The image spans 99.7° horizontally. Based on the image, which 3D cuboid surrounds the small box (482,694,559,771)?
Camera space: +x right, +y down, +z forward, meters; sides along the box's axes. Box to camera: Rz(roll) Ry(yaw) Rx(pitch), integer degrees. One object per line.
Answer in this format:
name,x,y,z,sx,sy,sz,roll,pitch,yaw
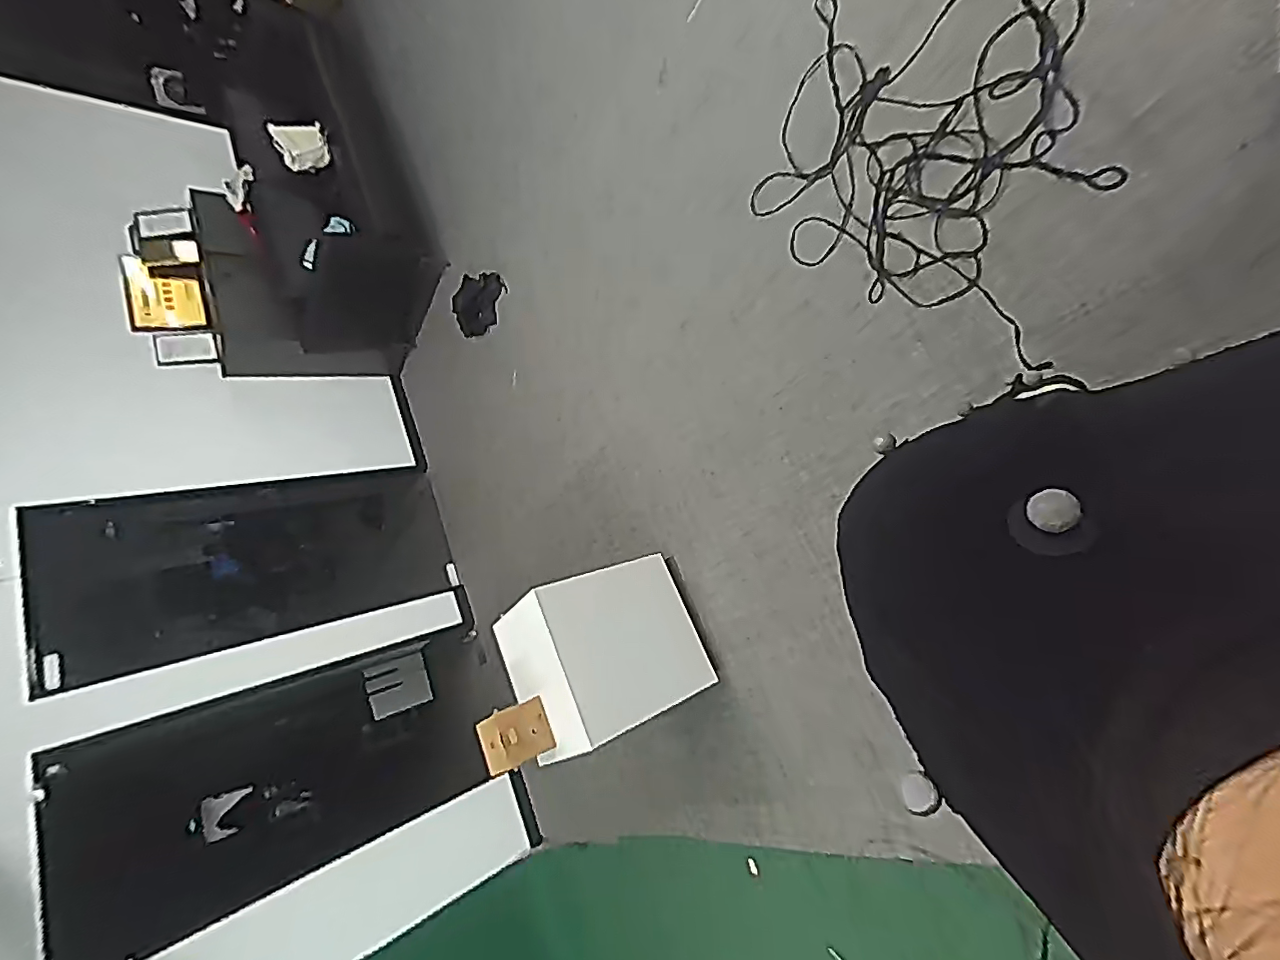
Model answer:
small box,-0.388,0.820,1.758,0.179,0.176,0.168,-44,63,43
